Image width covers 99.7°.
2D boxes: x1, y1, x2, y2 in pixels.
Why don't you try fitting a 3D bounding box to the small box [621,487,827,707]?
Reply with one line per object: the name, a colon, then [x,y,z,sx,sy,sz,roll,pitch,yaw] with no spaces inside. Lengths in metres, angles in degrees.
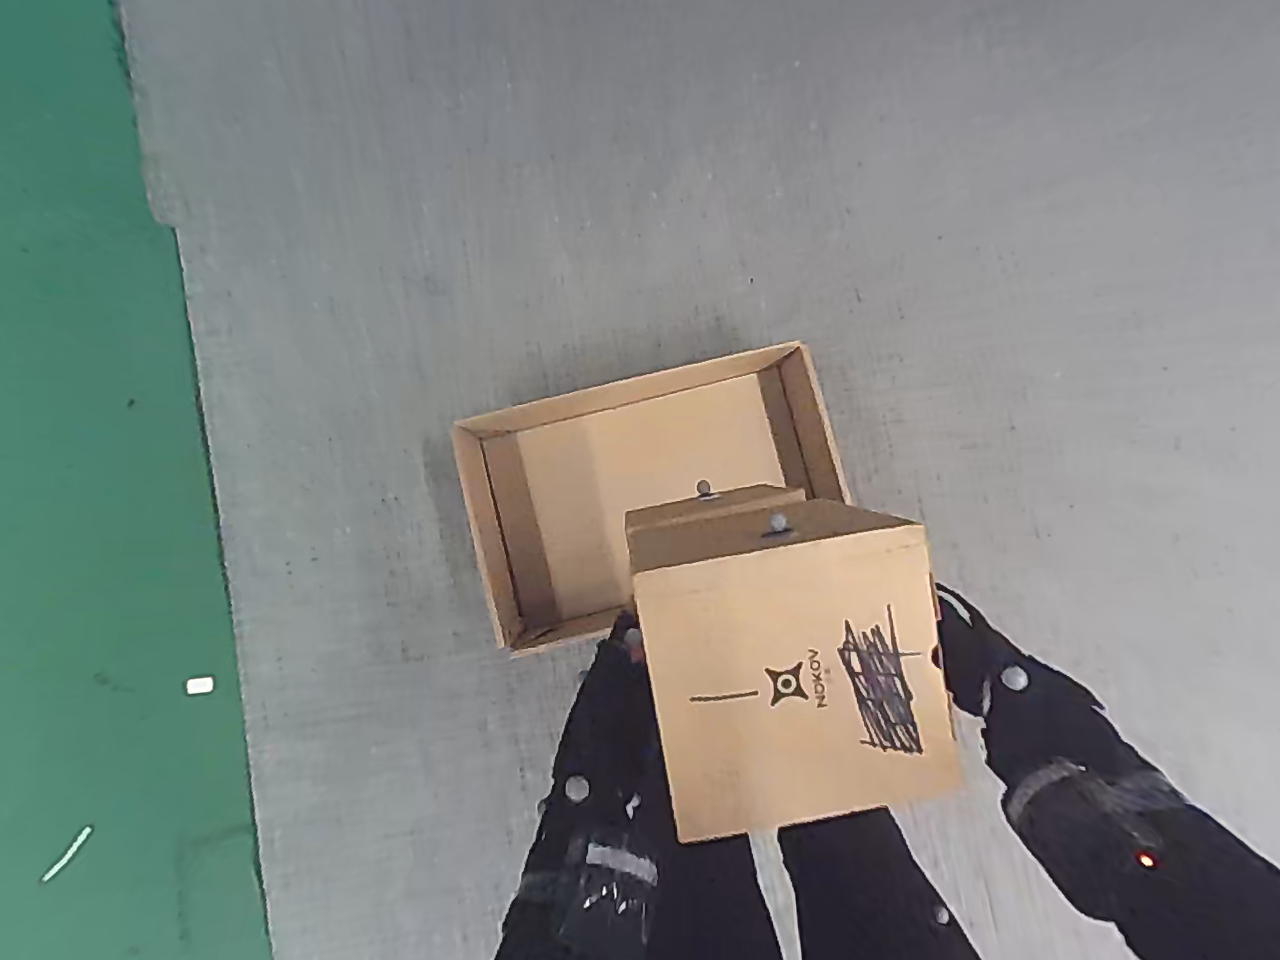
small box: [0.079,0.109,0.579,0.168,0.176,0.179,-12,91,-1]
